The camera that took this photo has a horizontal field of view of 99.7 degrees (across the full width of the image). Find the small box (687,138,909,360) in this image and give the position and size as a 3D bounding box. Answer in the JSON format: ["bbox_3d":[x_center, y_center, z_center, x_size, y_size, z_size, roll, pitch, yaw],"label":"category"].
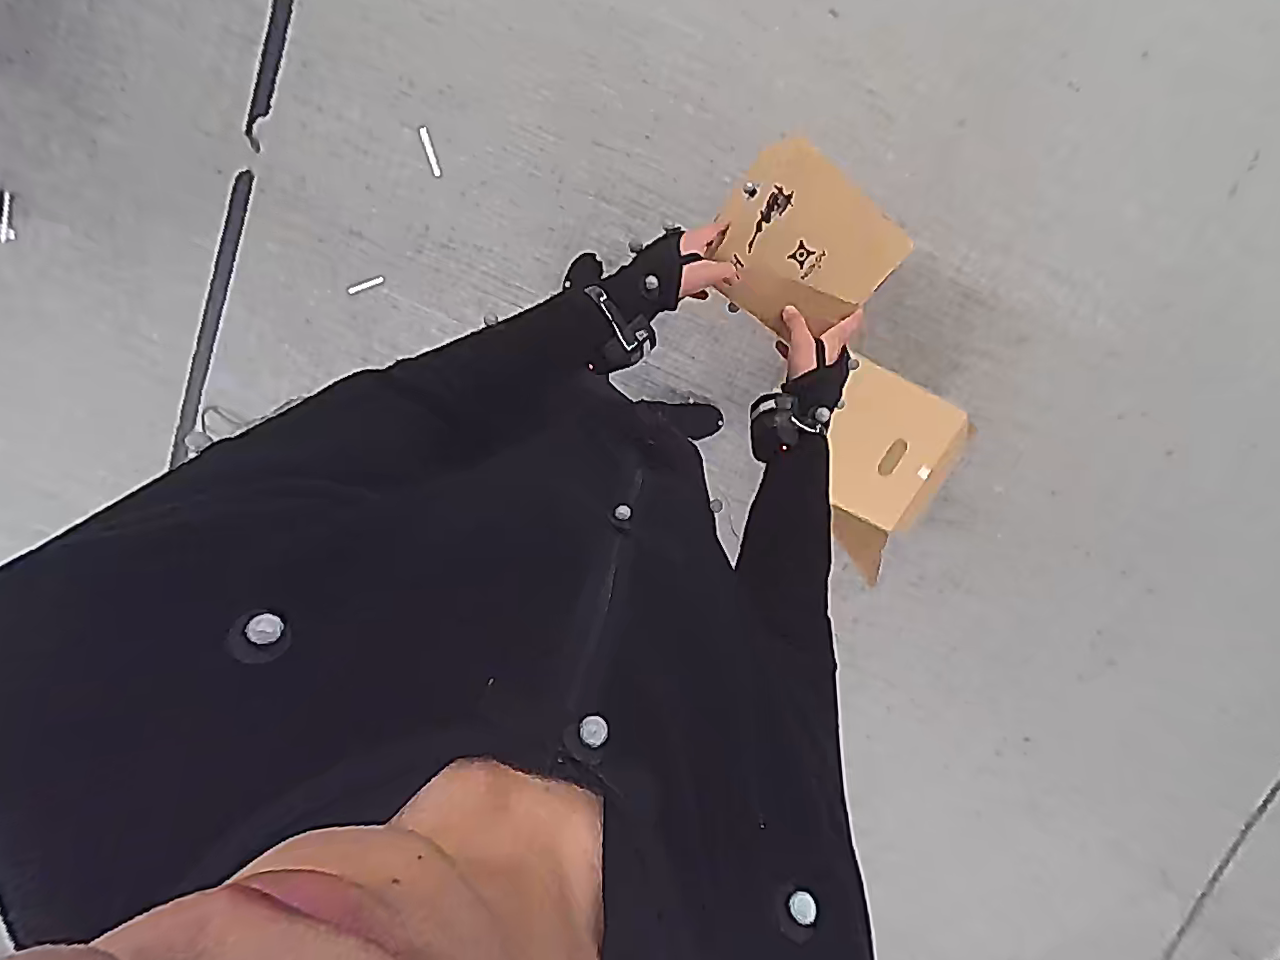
[{"bbox_3d":[0.176,-0.283,0.660,0.179,0.176,0.168,32,114,-17],"label":"small box"}]
